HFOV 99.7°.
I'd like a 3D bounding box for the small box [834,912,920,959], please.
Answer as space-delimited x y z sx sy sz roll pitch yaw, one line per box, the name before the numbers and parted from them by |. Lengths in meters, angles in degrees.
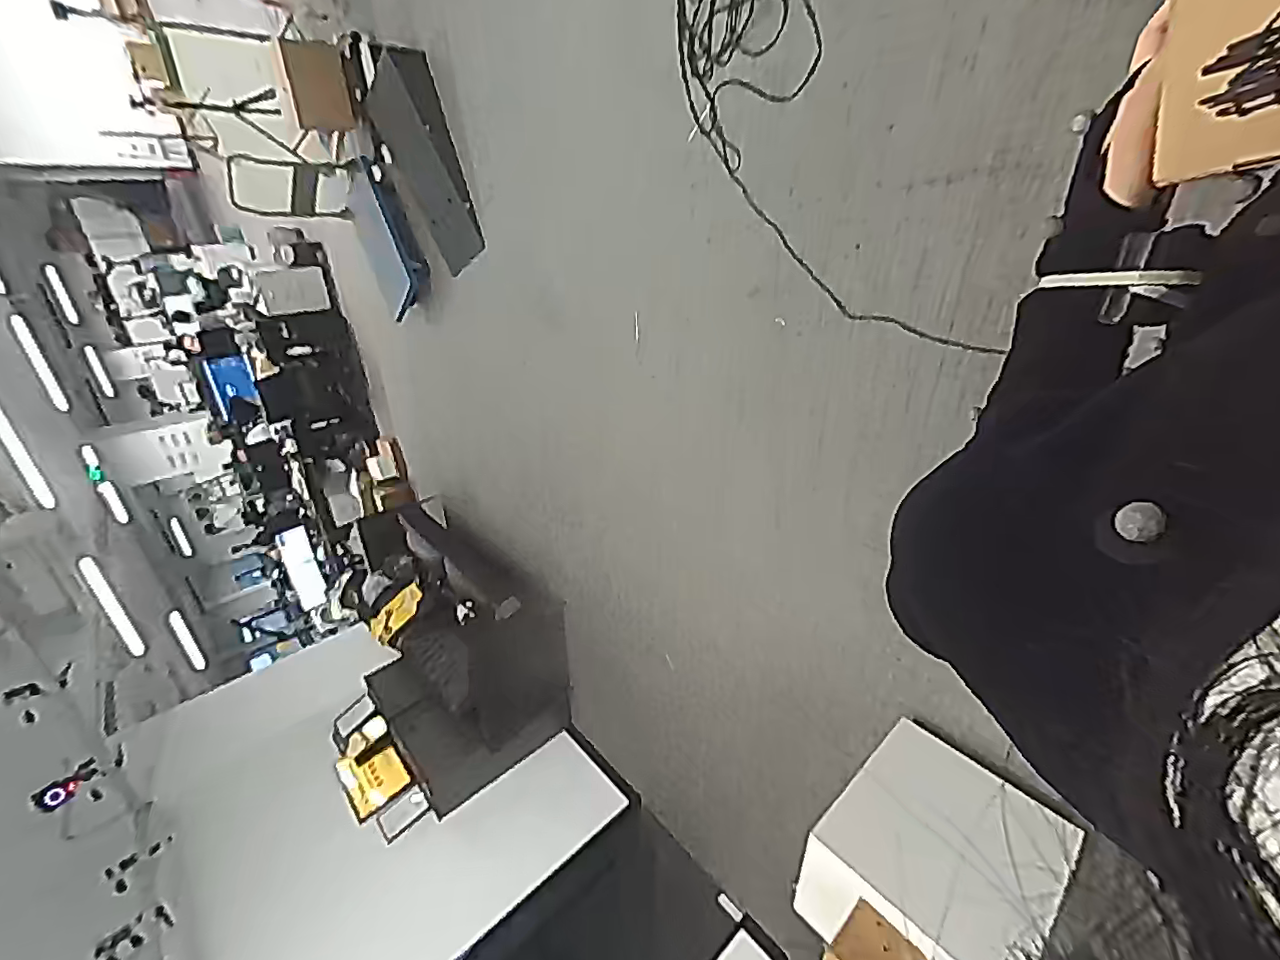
small box | 0.568 1.216 1.309 0.168 0.176 0.179 28 129 41
